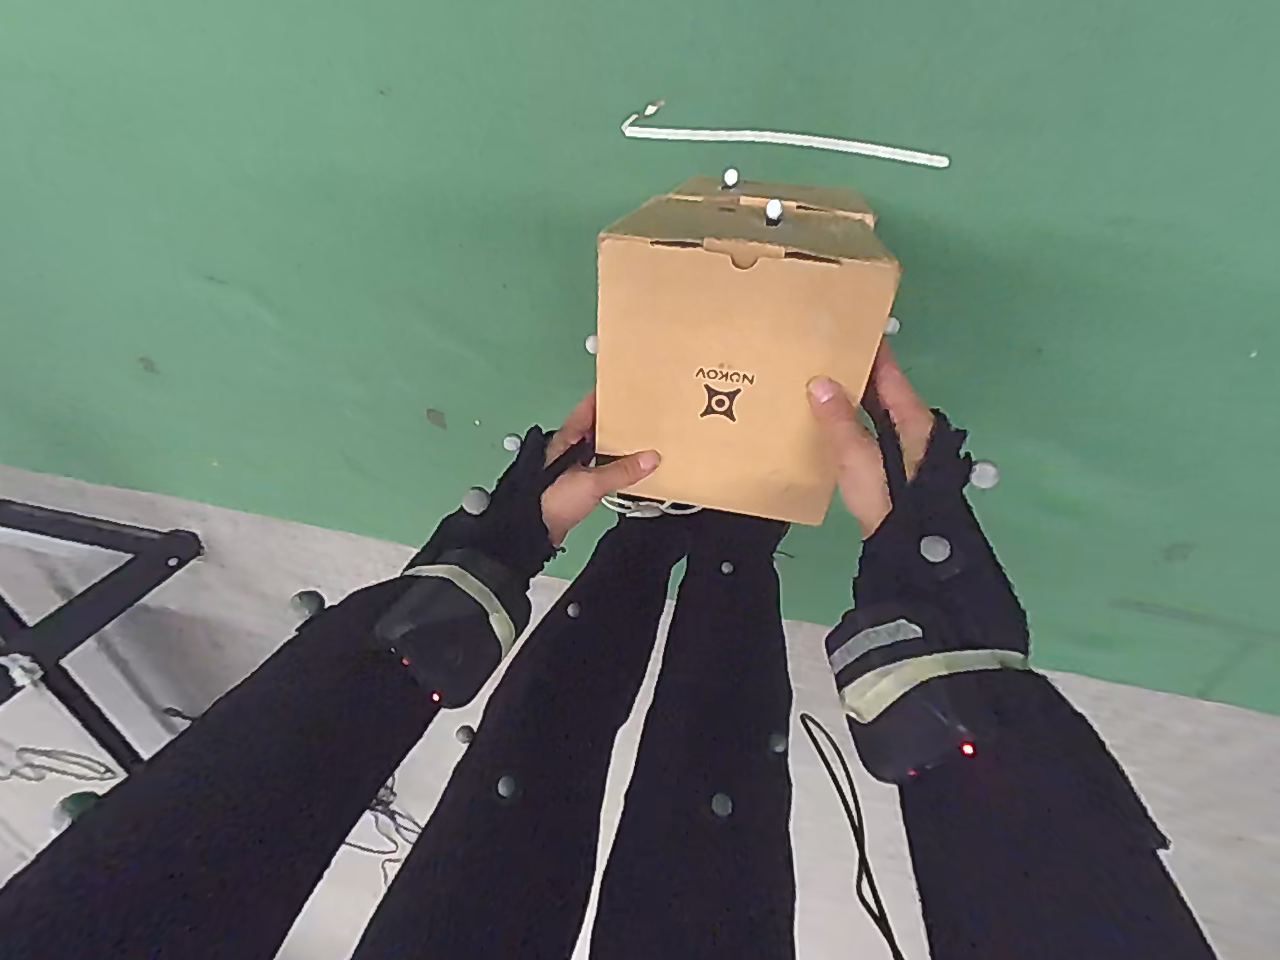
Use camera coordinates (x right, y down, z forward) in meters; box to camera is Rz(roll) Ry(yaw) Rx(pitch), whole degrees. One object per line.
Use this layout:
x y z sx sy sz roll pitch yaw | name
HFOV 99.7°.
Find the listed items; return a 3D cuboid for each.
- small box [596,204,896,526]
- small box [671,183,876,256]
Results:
0.070 -0.095 0.407 0.168 0.176 0.179 9 124 8 | small box
0.114 -0.186 0.536 0.168 0.176 0.179 10 126 9 | small box
